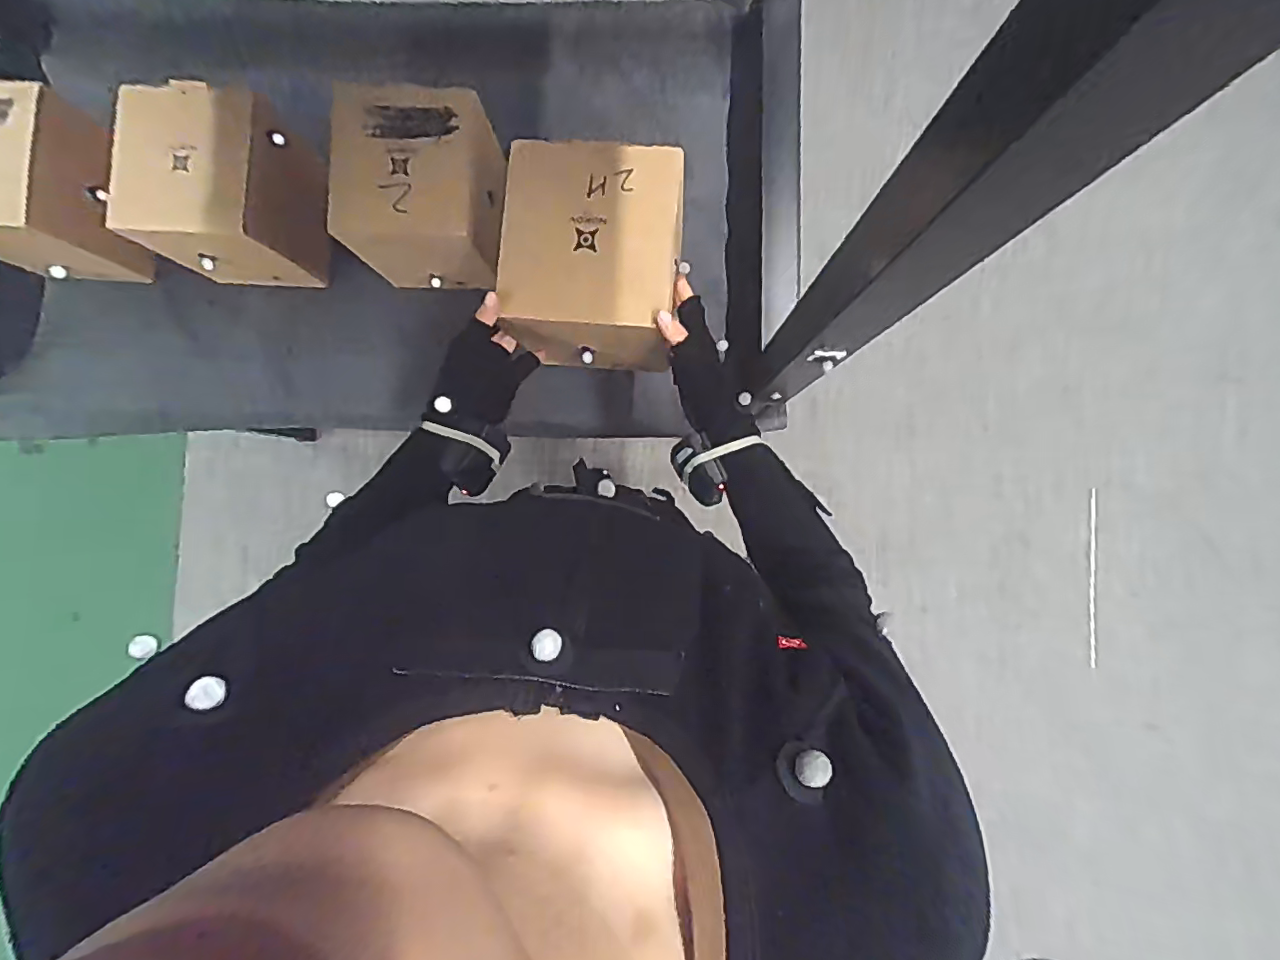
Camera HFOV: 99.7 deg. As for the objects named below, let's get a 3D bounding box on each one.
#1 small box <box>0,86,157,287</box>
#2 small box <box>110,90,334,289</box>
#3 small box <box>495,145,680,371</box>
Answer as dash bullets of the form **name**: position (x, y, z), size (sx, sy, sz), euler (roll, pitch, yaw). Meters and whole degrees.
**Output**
- **small box**: position (-0.785, -0.378, 0.715), size (0.168, 0.176, 0.179), euler (3, 88, 1)
- **small box**: position (-0.532, -0.367, 0.713), size (0.168, 0.176, 0.179), euler (3, 87, 1)
- **small box**: position (-0.046, -0.226, 0.592), size (0.168, 0.176, 0.179), euler (5, 87, 3)
